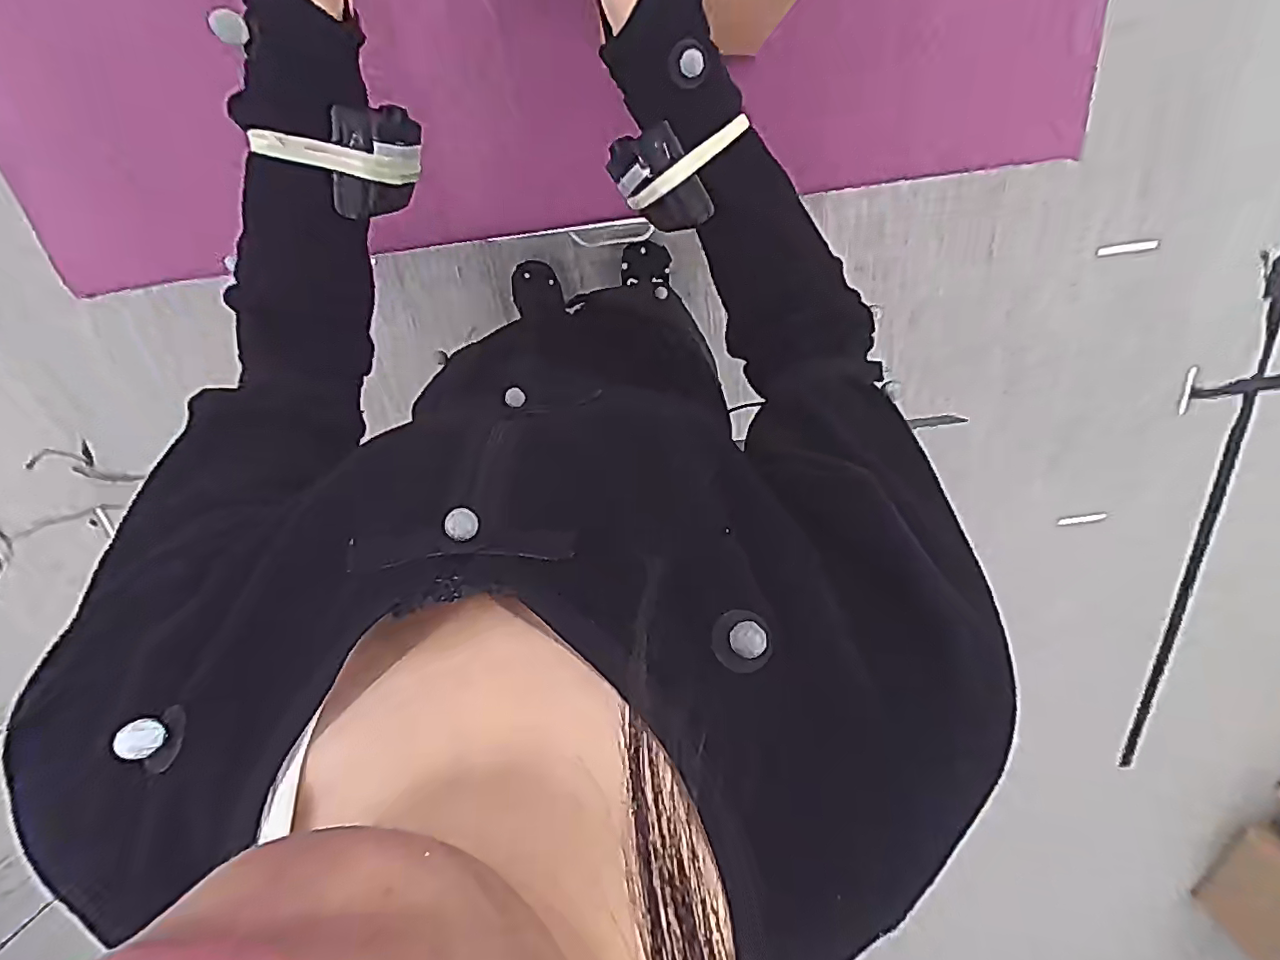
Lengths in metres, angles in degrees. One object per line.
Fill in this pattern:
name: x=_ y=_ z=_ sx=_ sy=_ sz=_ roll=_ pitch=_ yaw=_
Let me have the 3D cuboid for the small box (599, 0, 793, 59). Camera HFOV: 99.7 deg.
small box: x=0.047 y=-0.505 z=0.471 sx=0.168 sy=0.176 sz=0.179 roll=1 pitch=114 yaw=-3
